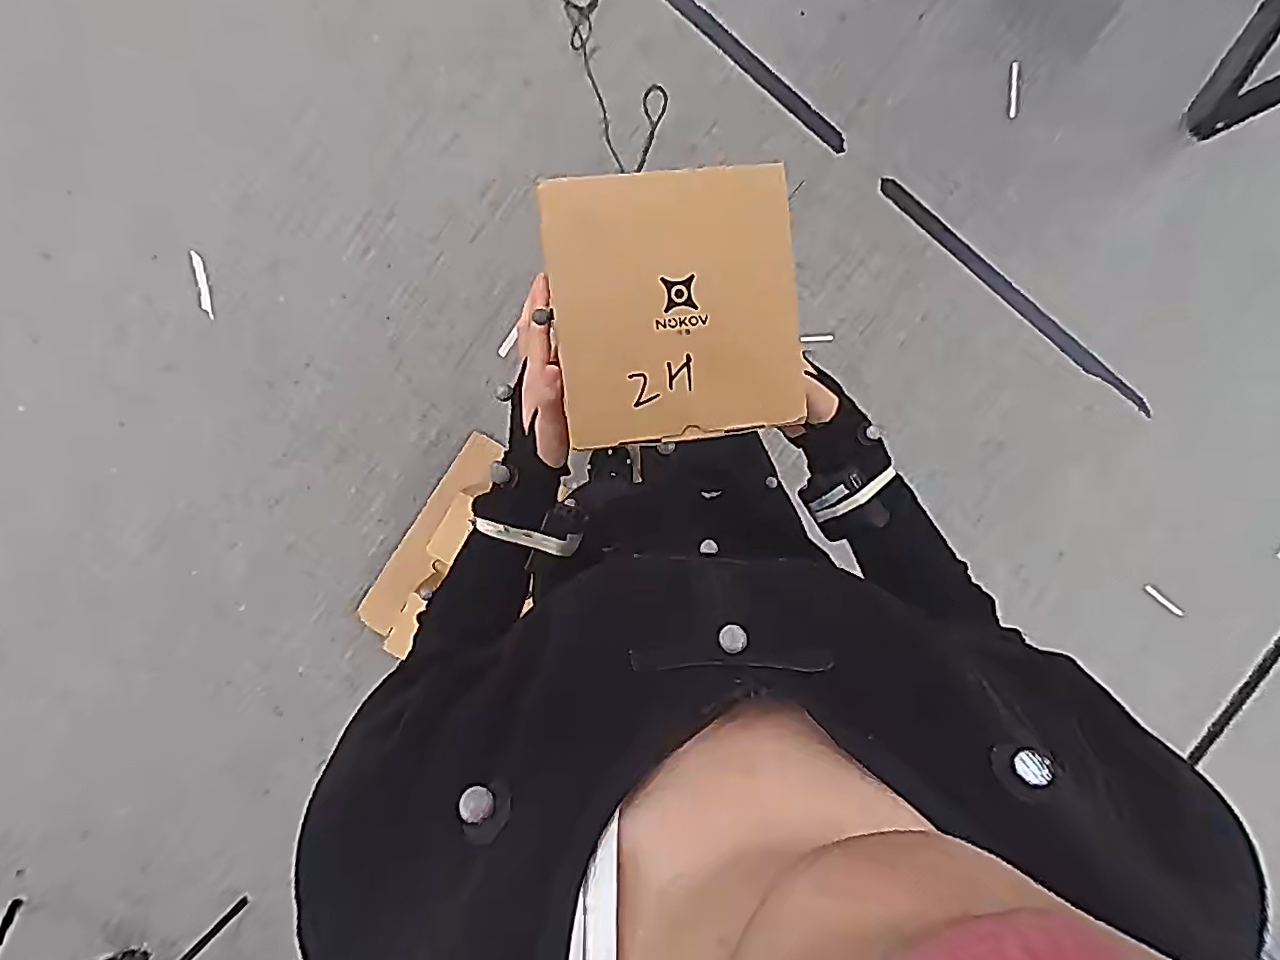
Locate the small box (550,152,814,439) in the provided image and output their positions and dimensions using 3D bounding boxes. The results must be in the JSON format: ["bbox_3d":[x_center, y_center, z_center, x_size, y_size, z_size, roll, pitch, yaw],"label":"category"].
[{"bbox_3d":[0.020,-0.127,0.431,0.168,0.176,0.179,-7,96,-6],"label":"small box"}]

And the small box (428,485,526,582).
[{"bbox_3d":[-0.403,0.127,1.371,0.168,0.176,0.179,30,93,-6],"label":"small box"}]
